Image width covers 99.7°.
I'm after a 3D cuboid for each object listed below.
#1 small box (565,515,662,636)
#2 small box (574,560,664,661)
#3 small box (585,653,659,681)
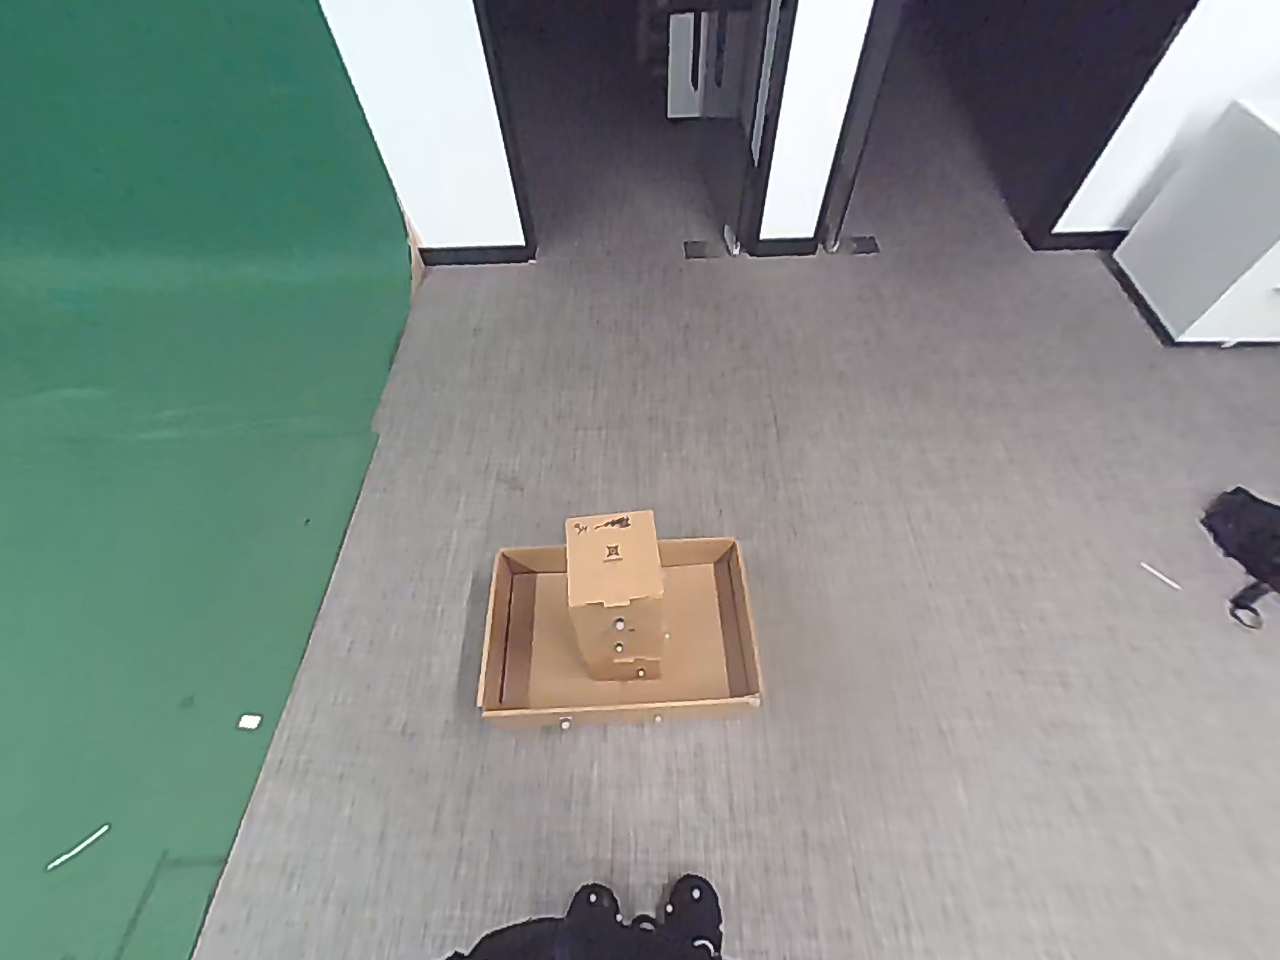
[{"bbox_3d":[-0.047,0.188,1.025,0.168,0.176,0.179,-5,56,-1],"label":"small box"},{"bbox_3d":[-0.041,0.282,1.158,0.179,0.176,0.168,-3,55,1],"label":"small box"},{"bbox_3d":[-0.037,0.375,1.293,0.168,0.176,0.179,-1,54,1],"label":"small box"}]
